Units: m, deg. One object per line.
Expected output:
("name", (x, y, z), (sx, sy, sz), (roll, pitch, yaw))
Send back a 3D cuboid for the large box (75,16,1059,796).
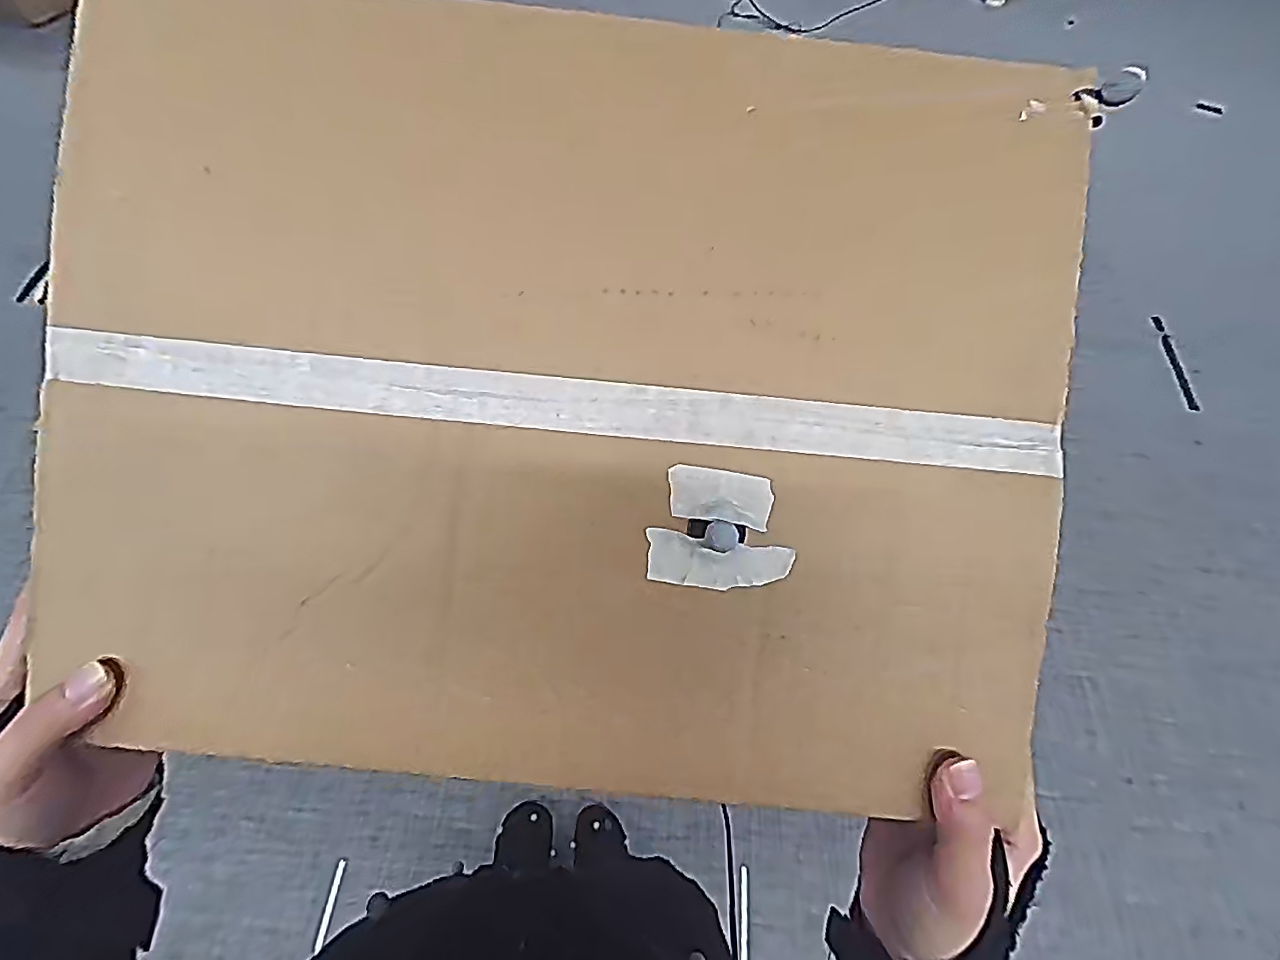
("large box", (-0.031, -0.028, 0.379), (0.408, 0.320, 0.320), (5, 91, -2))
